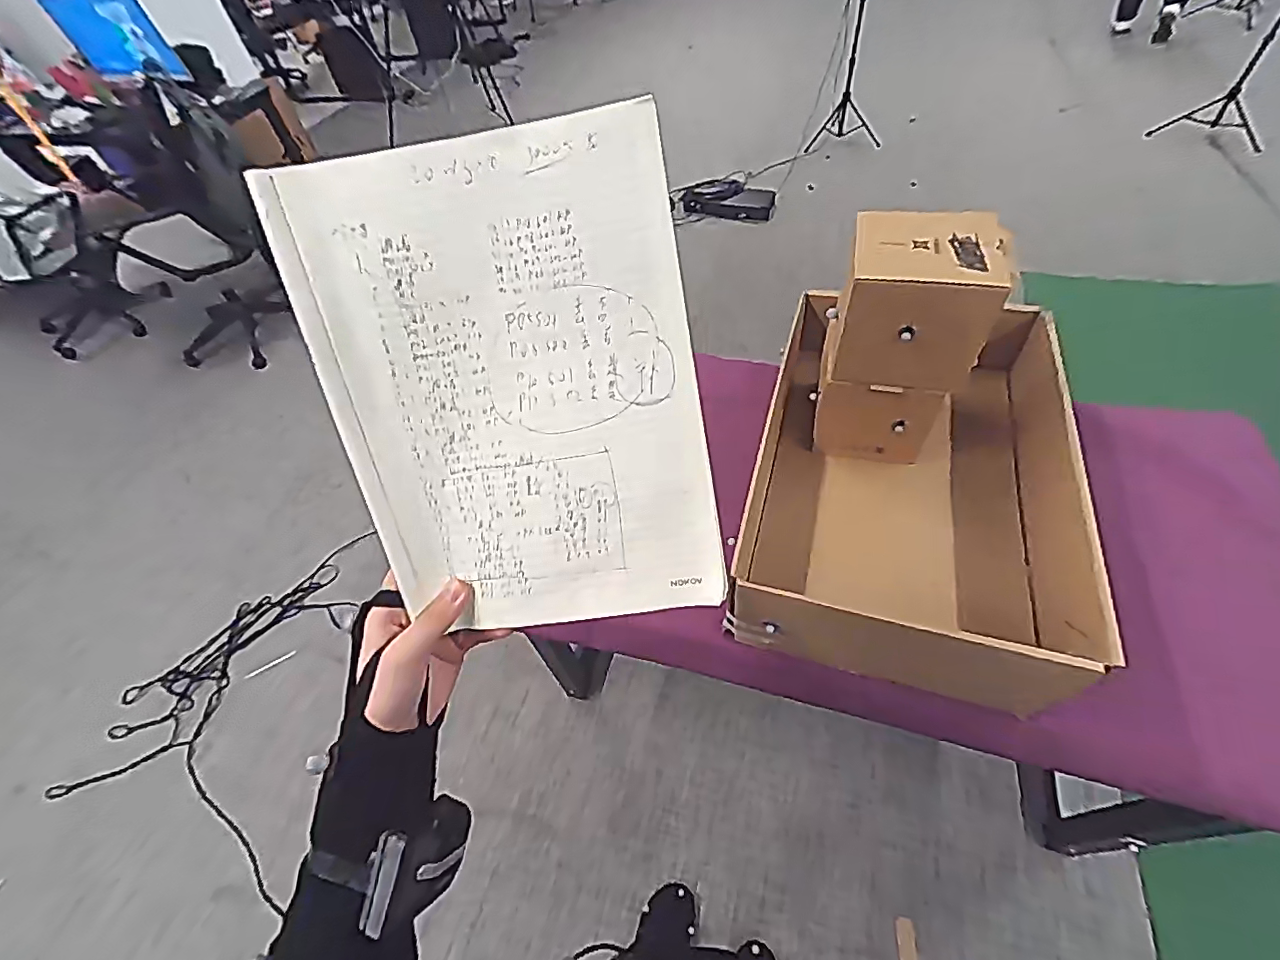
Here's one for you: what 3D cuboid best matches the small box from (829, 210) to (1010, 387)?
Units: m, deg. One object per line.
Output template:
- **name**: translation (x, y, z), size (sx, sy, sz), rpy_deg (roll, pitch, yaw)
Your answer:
- **small box**: translation (0.372, -0.247, 0.749), size (0.179, 0.176, 0.168), rpy_deg (8, 54, 14)
